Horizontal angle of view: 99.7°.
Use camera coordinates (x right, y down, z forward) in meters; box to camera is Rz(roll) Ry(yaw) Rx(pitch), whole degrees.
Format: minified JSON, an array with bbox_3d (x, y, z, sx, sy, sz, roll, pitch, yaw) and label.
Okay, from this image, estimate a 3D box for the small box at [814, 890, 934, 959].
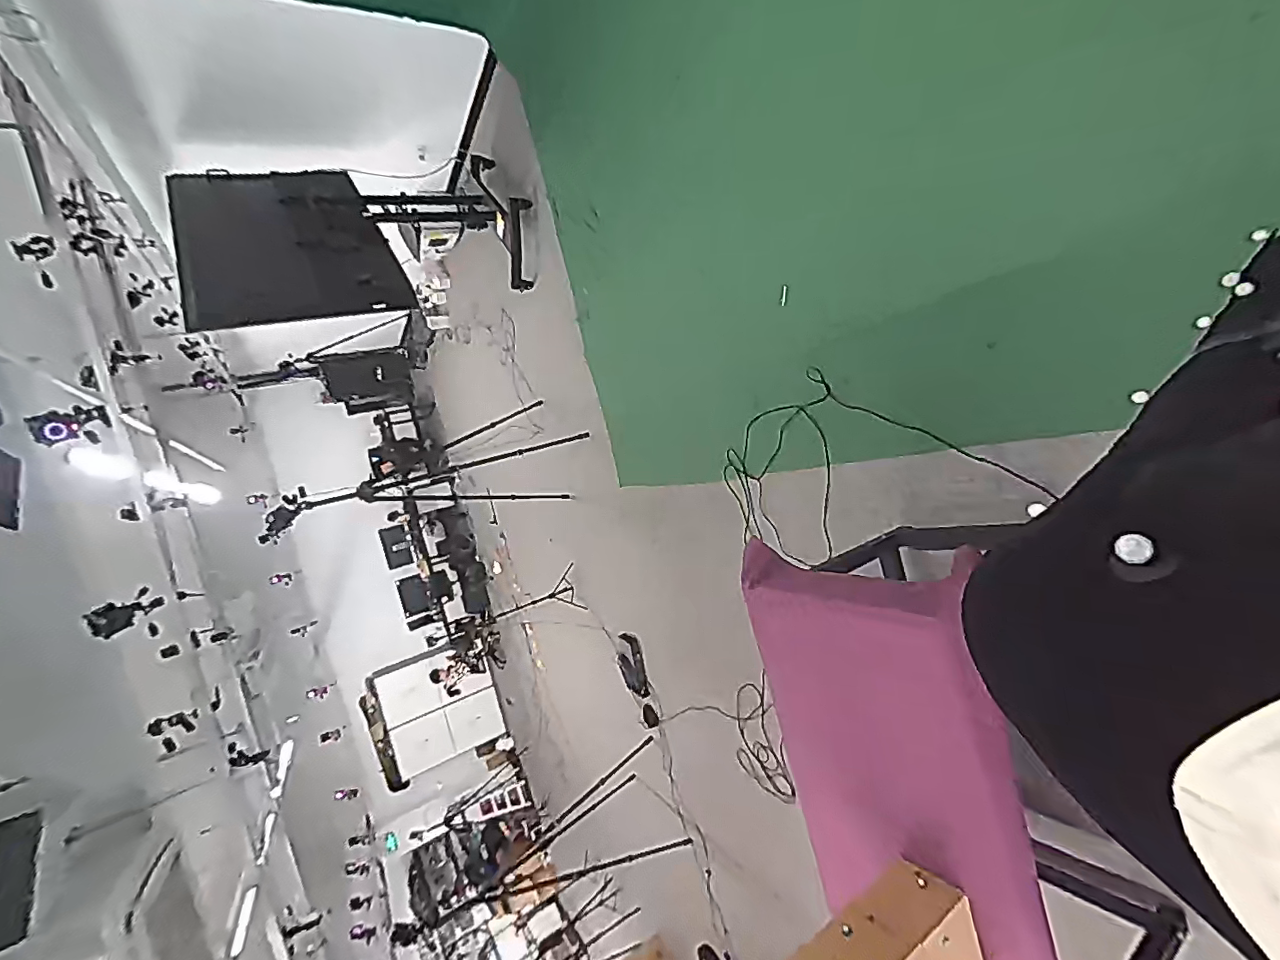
[{"bbox_3d":[0.506,1.031,1.143,0.168,0.176,0.179,-11,95,62],"label":"small box"}]
